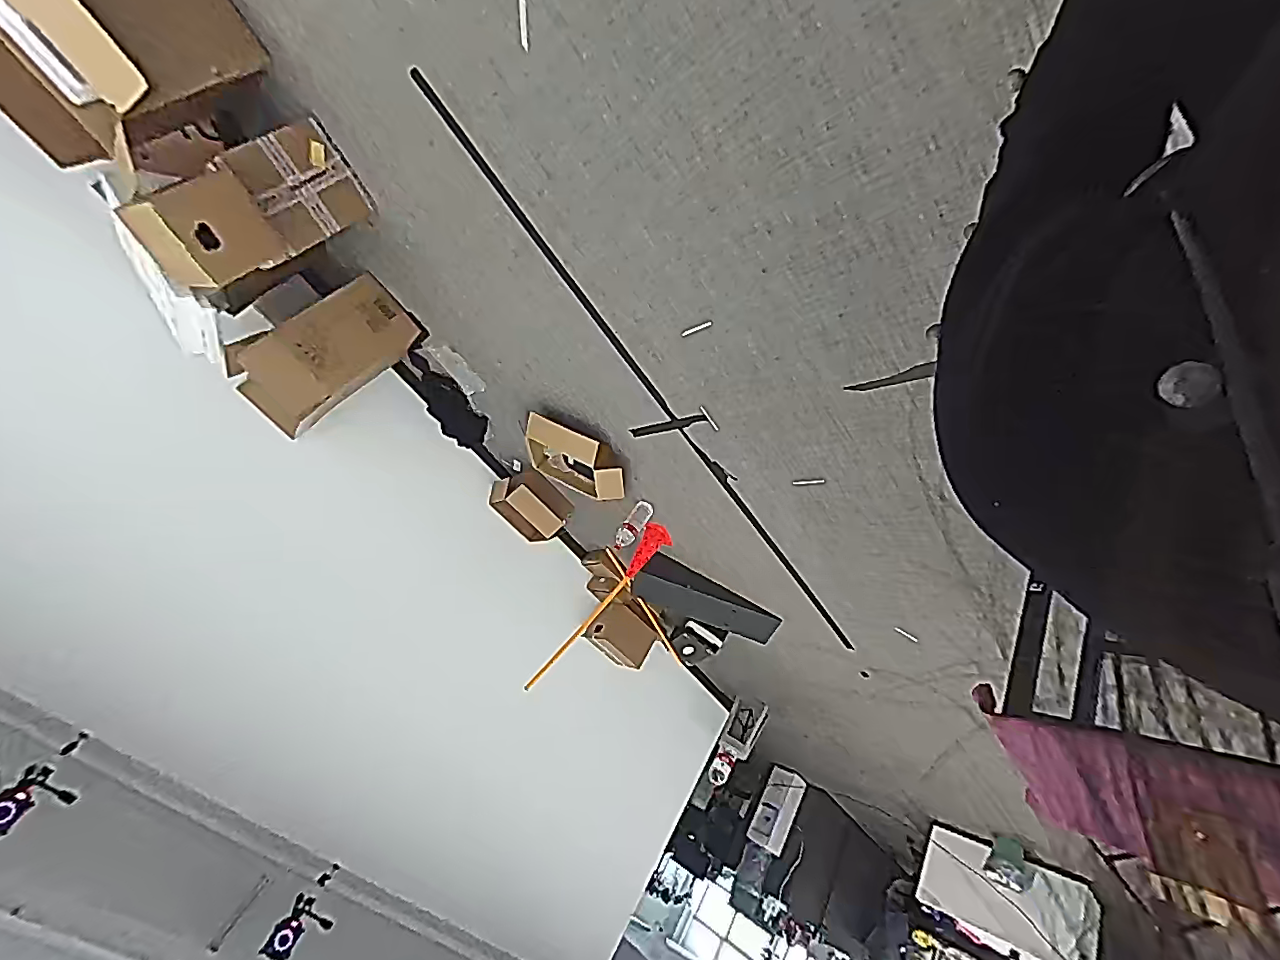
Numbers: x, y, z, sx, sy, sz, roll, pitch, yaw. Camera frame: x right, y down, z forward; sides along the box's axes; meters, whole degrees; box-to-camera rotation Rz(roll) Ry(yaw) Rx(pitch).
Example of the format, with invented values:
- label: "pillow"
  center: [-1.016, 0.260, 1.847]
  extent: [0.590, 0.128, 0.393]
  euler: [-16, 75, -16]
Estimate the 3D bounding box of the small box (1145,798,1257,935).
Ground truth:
- label: "small box"
  center: [1.259, 0.859, 1.215]
  extent: [0.168, 0.176, 0.179]
  euler: [-1, 134, 47]
